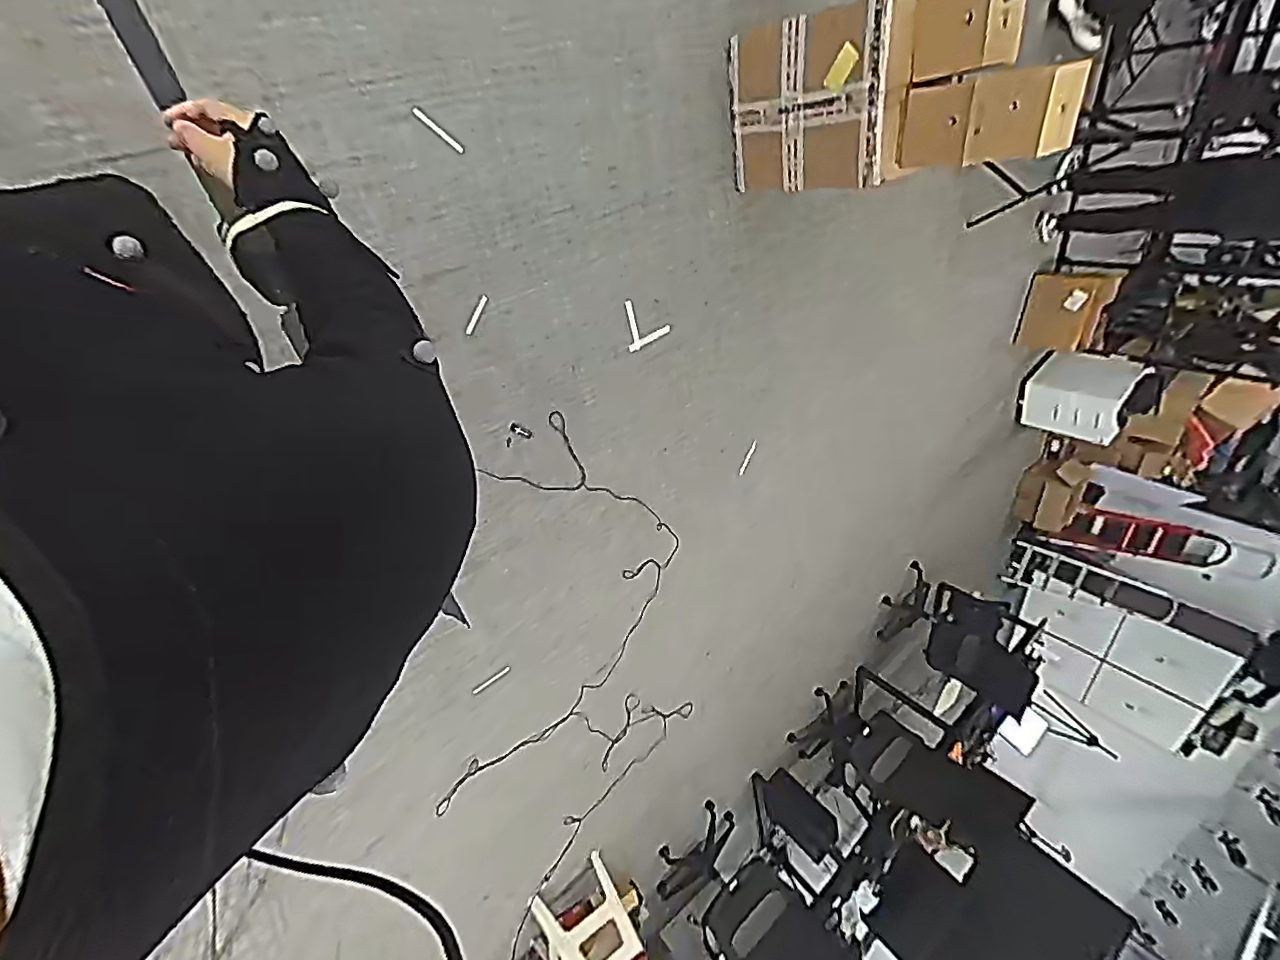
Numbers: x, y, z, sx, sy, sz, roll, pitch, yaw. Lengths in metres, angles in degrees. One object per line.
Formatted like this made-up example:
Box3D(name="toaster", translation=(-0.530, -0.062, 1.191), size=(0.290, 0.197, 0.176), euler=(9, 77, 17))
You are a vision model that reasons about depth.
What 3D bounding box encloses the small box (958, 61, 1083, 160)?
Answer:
Box3D(name="small box", translation=(0.872, -0.851, 1.253), size=(0.179, 0.176, 0.168), euler=(-29, 129, -26))
